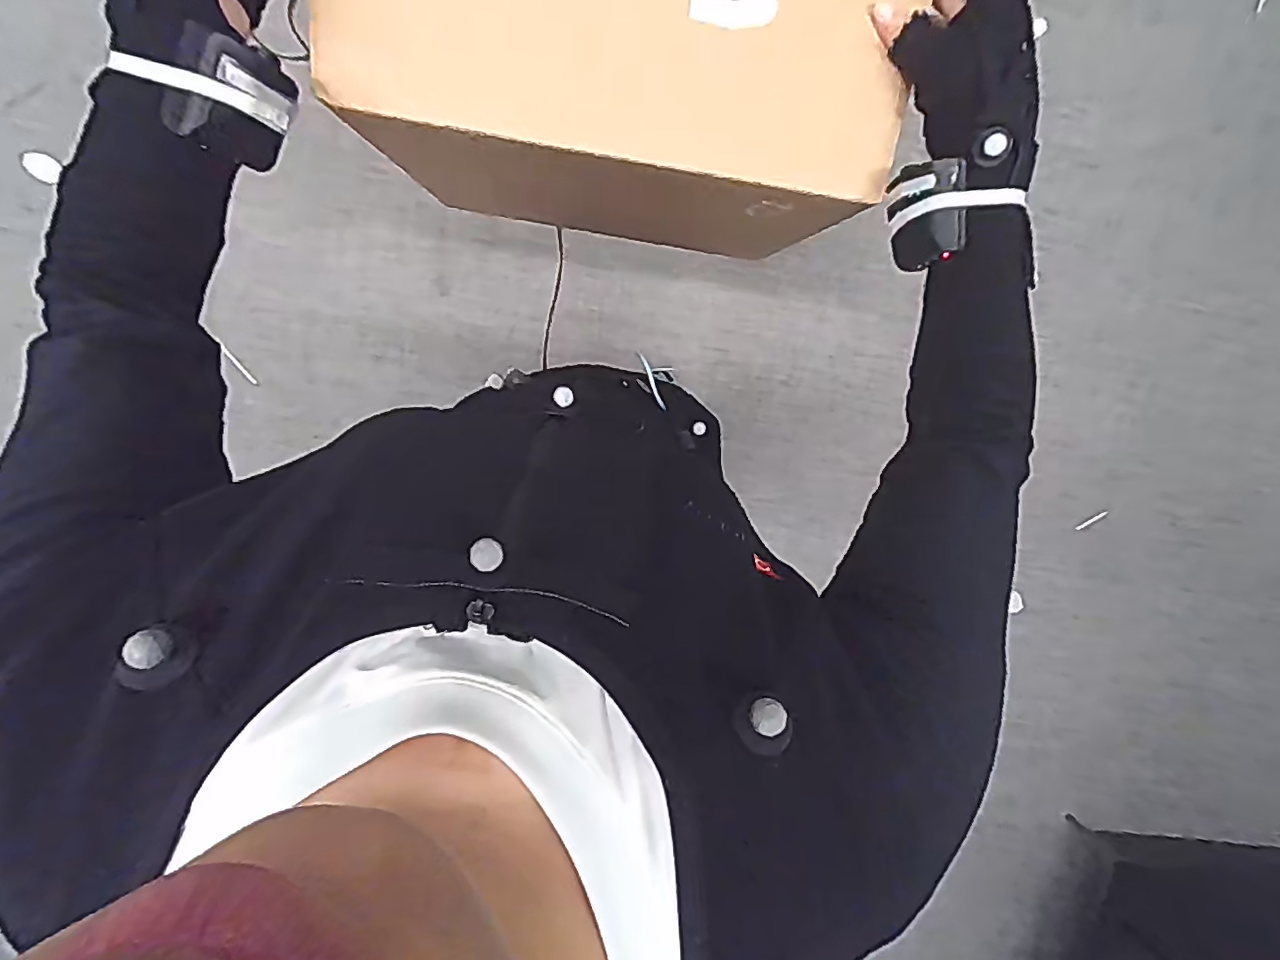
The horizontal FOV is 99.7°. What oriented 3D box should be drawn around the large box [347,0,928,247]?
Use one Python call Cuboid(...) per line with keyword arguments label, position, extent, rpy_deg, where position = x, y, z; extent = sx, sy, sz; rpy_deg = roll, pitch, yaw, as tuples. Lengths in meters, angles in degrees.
Cuboid(label="large box", position=(-0.001, -0.427, 0.498), extent=(0.408, 0.320, 0.320), rpy_deg=(6, 105, -7))
